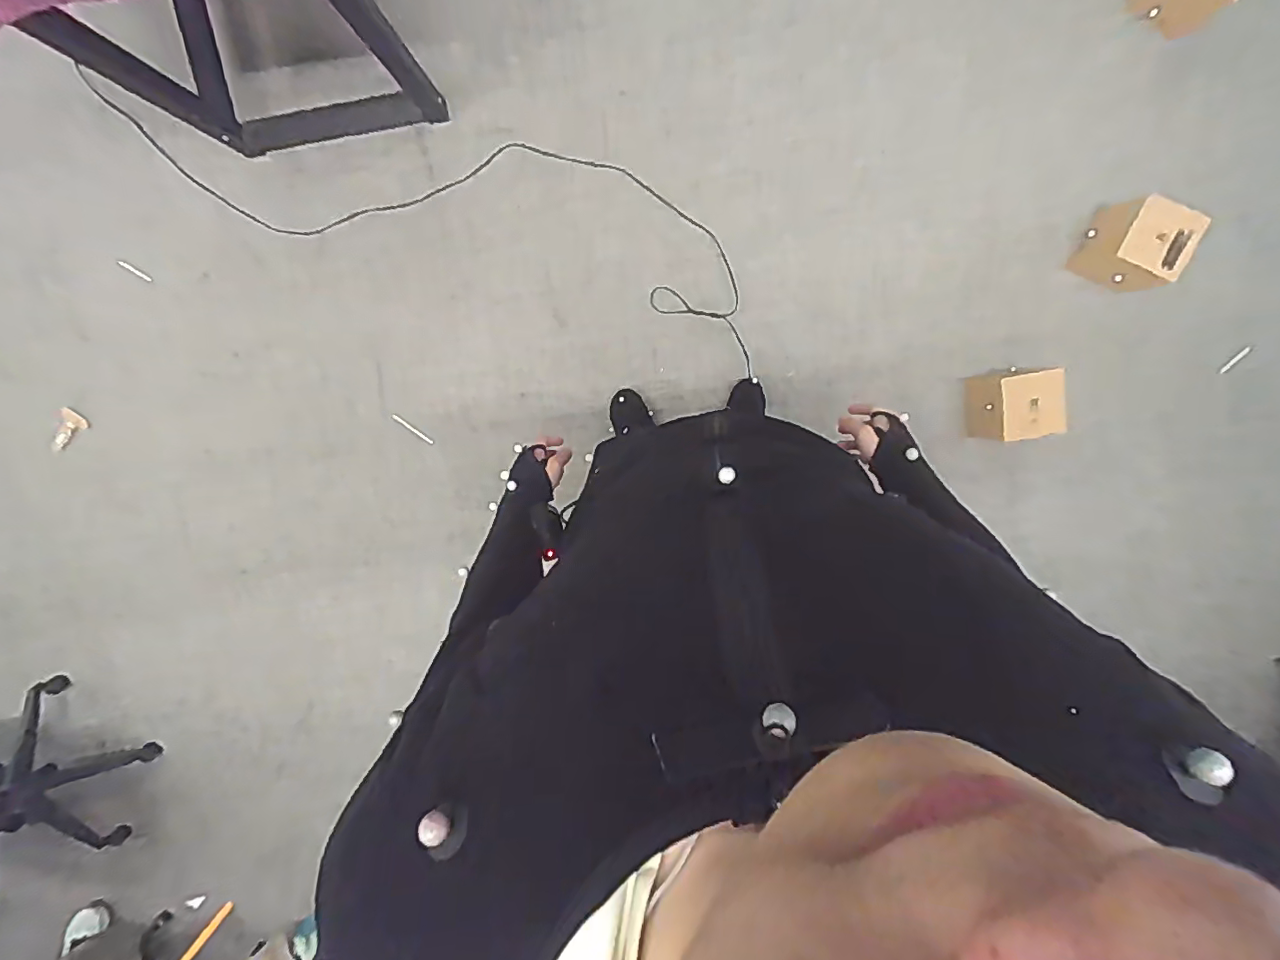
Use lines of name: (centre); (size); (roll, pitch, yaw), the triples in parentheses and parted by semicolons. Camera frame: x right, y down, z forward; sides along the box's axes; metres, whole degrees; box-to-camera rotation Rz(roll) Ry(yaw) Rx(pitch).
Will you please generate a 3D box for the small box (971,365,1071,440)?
small box: (1.045, -0.216, 1.497); (0.168, 0.176, 0.179); (-10, 101, 3)
